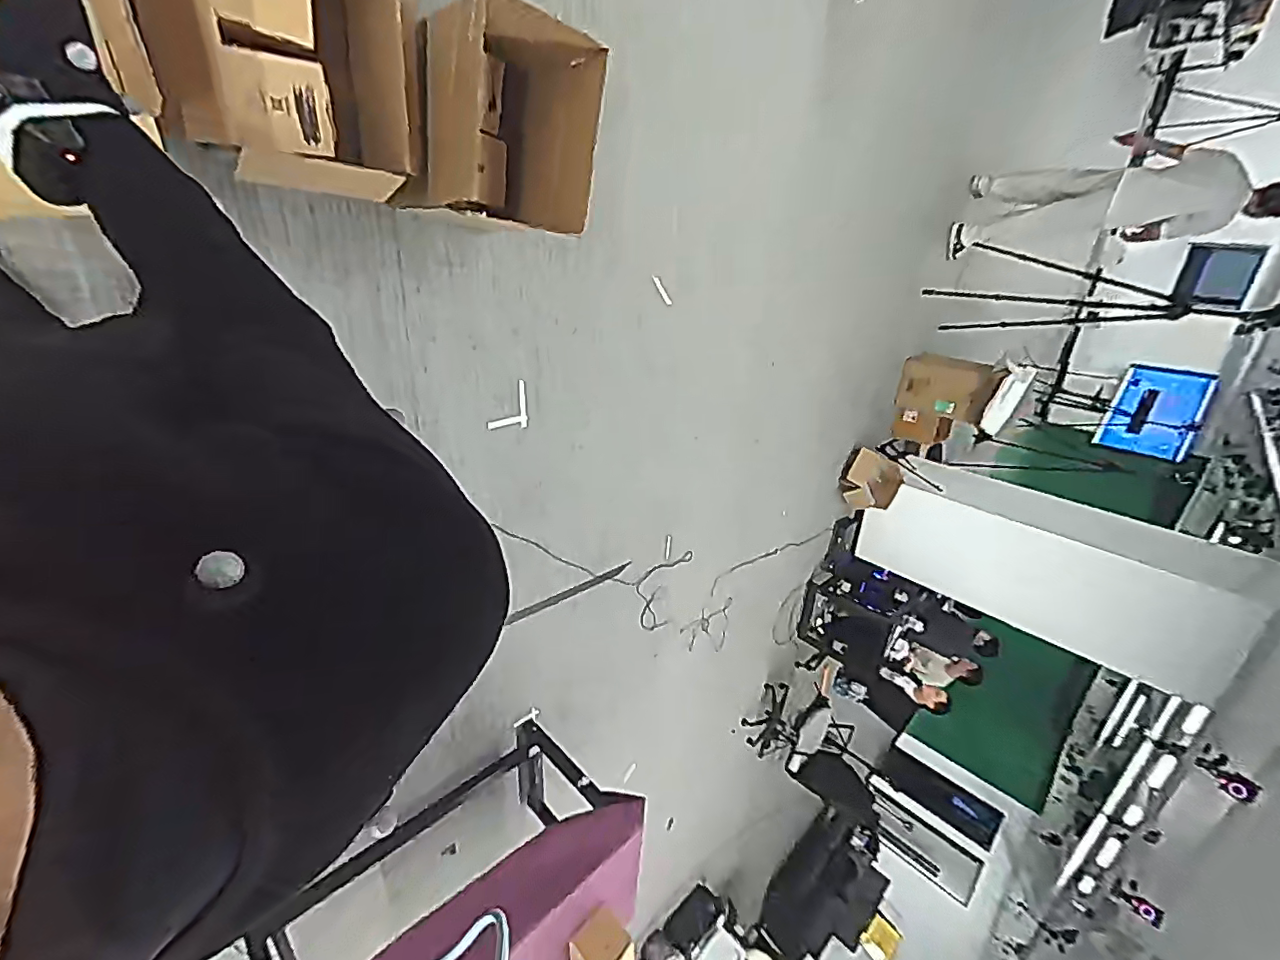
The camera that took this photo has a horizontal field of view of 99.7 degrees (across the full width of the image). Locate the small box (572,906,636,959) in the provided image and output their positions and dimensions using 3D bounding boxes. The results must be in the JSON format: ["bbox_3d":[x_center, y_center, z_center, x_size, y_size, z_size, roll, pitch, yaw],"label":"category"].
[{"bbox_3d":[-0.133,1.752,2.012,0.179,0.176,0.168,-22,124,-40],"label":"small box"}]
